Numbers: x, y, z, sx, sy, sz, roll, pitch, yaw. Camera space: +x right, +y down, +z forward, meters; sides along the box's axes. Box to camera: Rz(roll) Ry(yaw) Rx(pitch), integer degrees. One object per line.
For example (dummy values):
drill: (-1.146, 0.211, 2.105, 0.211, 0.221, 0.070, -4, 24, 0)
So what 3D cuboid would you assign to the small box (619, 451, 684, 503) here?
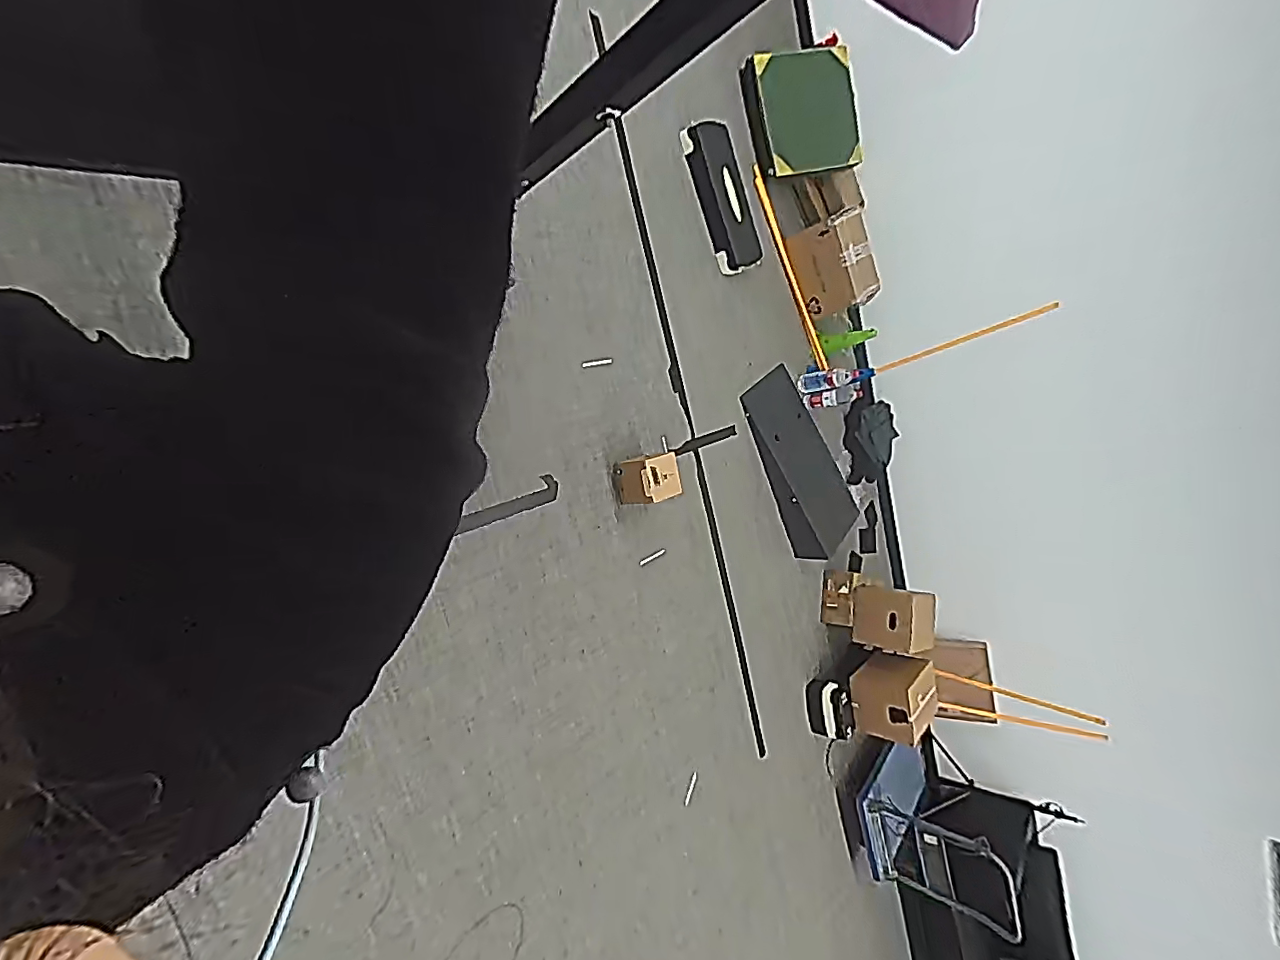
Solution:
small box: (0.038, -0.010, 2.075, 0.179, 0.176, 0.168, -19, 101, -45)
